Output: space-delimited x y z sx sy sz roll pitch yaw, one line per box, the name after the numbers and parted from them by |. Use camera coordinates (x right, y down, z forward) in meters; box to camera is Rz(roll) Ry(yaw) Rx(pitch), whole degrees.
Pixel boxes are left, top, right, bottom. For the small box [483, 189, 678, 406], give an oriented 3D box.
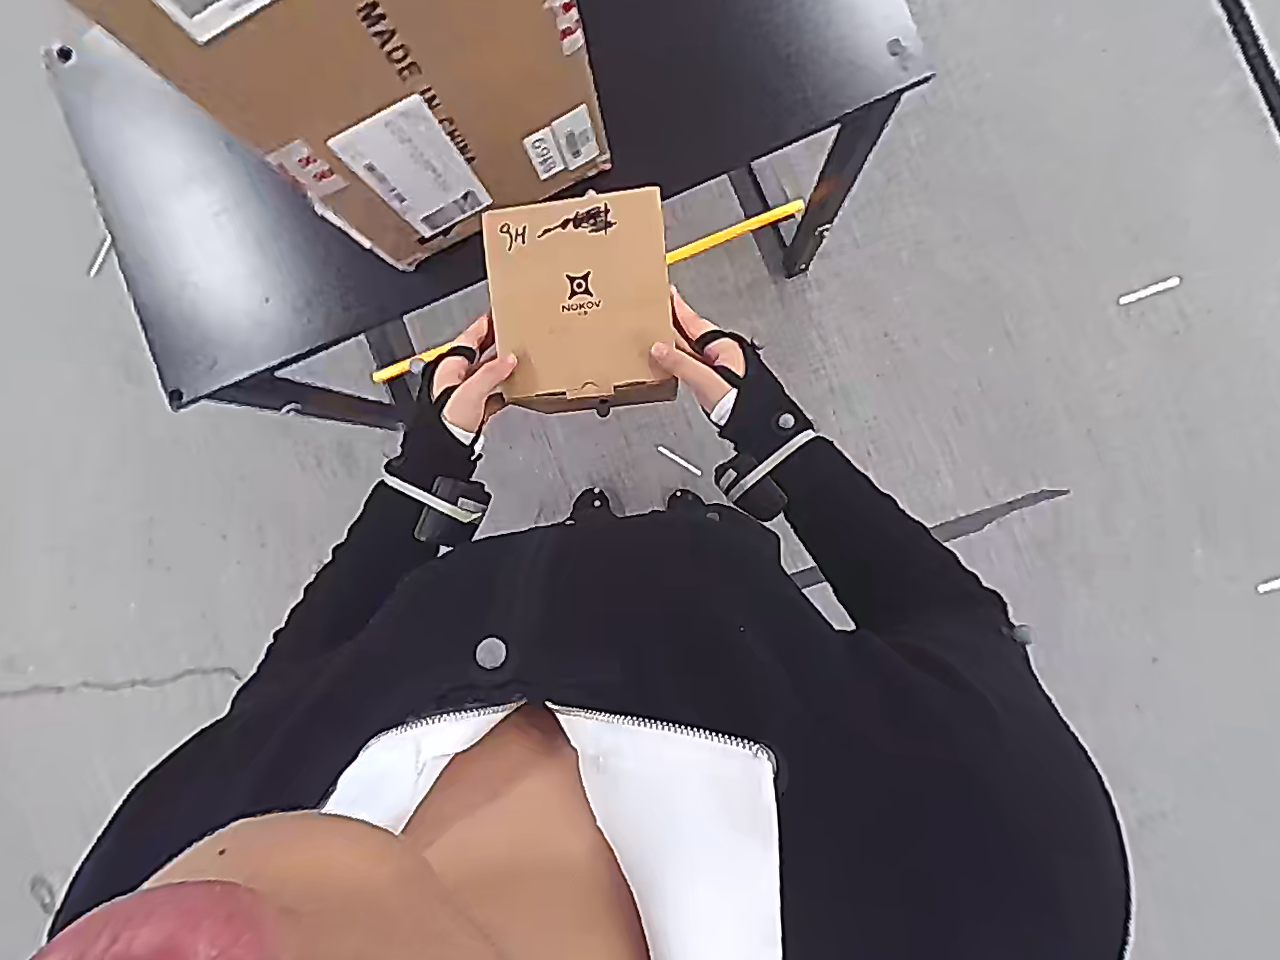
-0.049 -0.173 0.572 0.168 0.176 0.179 -6 94 4 | small box
